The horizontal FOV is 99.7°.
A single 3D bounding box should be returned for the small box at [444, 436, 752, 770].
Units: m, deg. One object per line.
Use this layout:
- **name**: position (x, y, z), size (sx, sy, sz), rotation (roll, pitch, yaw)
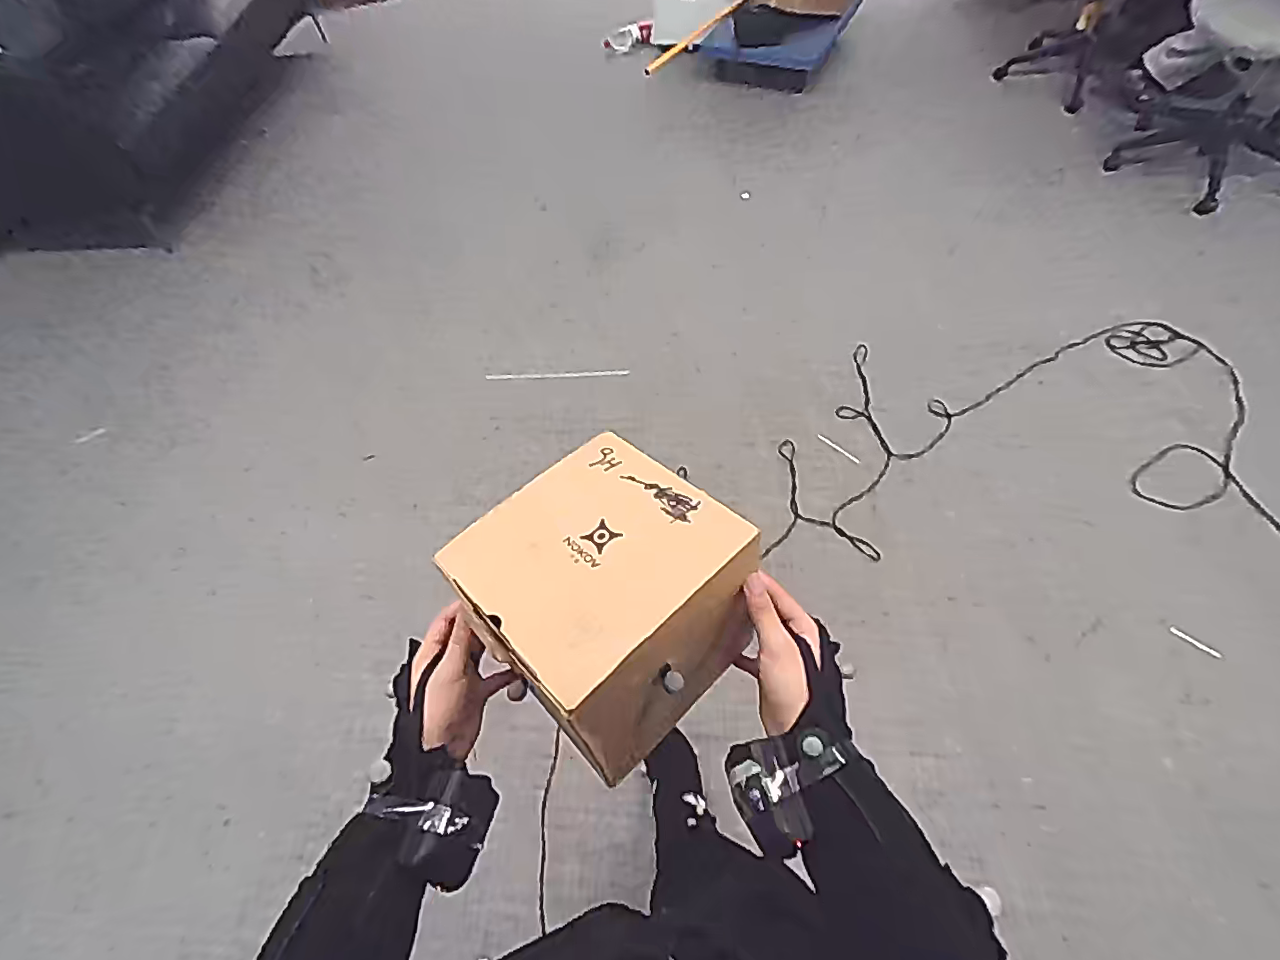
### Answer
- **small box**: position (-0.022, 0.102, 0.453), size (0.179, 0.176, 0.168), rotation (-38, 53, -24)
